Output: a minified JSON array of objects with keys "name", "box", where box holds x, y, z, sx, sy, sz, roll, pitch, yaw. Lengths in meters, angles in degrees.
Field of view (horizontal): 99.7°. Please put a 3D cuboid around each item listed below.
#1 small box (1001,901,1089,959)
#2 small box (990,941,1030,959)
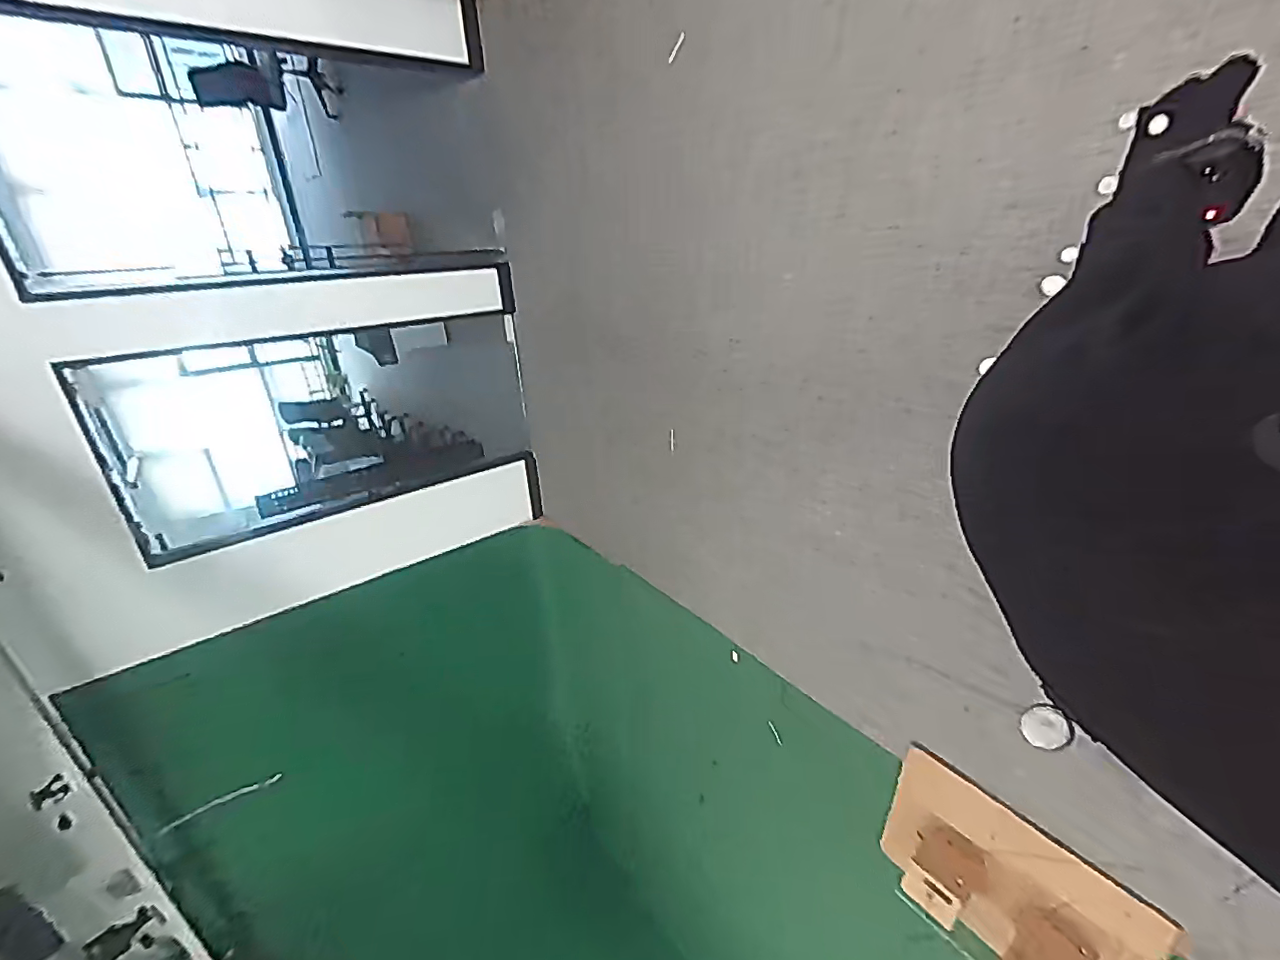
[{"name":"small box","box":[1.174,1.397,1.584,0.168,0.176,0.179,29,130,44]},{"name":"small box","box":[1.044,1.453,1.503,0.168,0.176,0.179,31,130,43]}]
